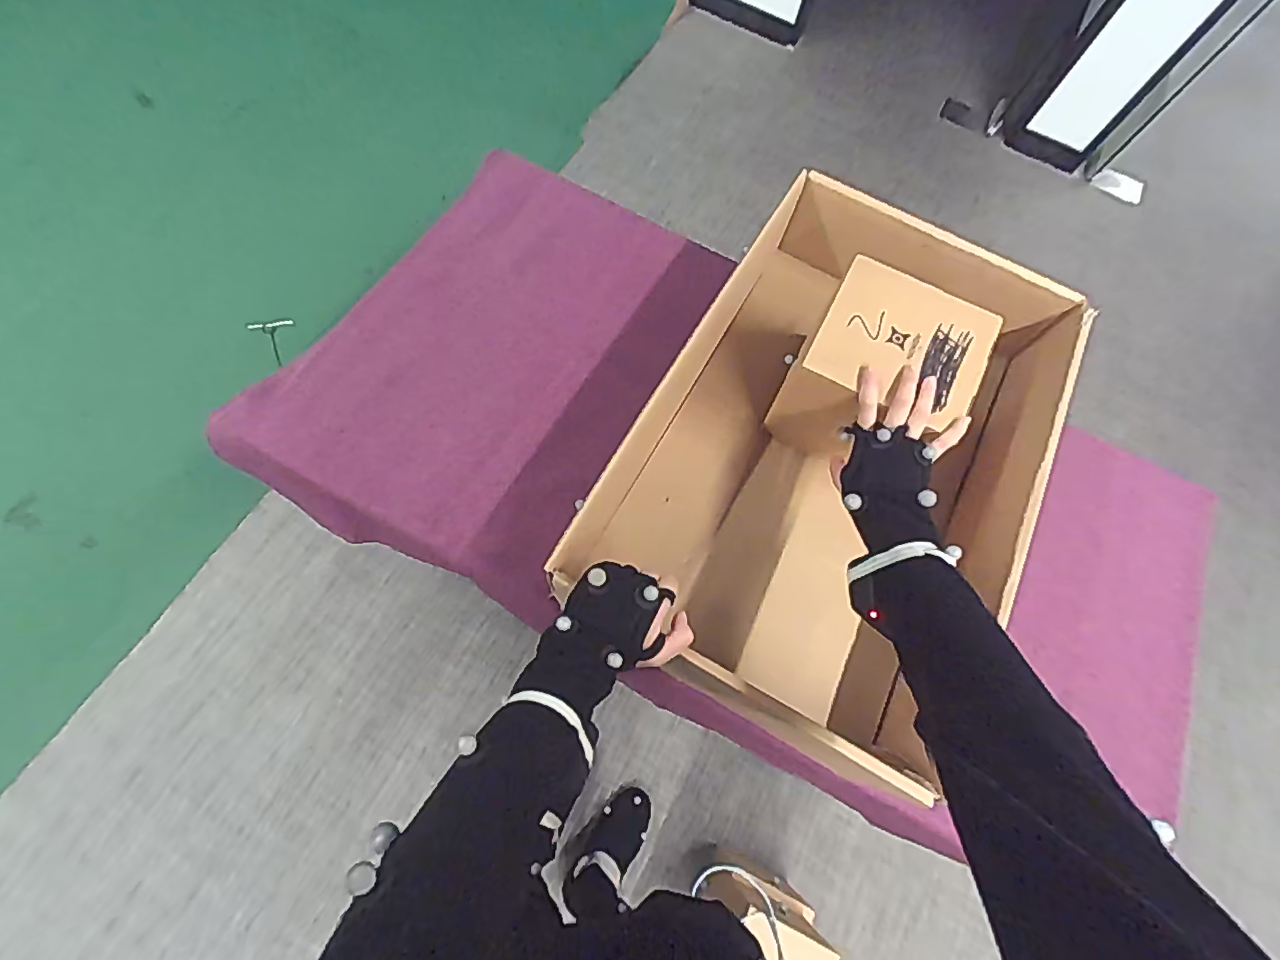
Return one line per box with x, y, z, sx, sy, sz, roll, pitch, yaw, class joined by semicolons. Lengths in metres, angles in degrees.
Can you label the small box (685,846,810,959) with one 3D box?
0.212;0.887;1.104;0.179;0.176;0.168;27;69;5;small box
